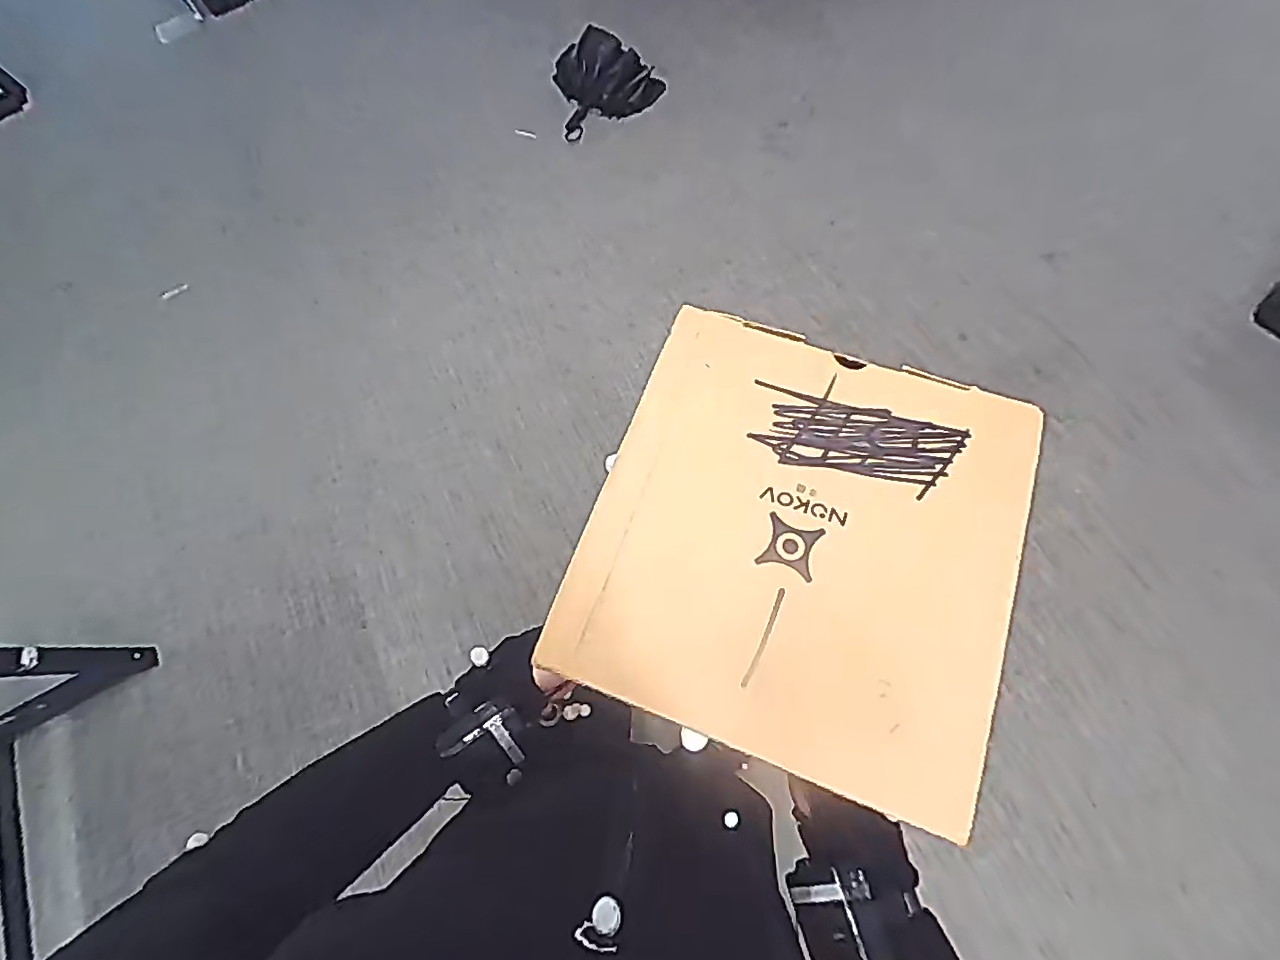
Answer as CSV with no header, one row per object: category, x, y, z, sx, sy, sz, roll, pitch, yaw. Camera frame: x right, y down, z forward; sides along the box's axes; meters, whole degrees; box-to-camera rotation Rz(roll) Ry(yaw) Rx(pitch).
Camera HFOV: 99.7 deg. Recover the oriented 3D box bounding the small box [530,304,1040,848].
small box,0.066,0.045,0.293,0.168,0.176,0.179,20,75,10
